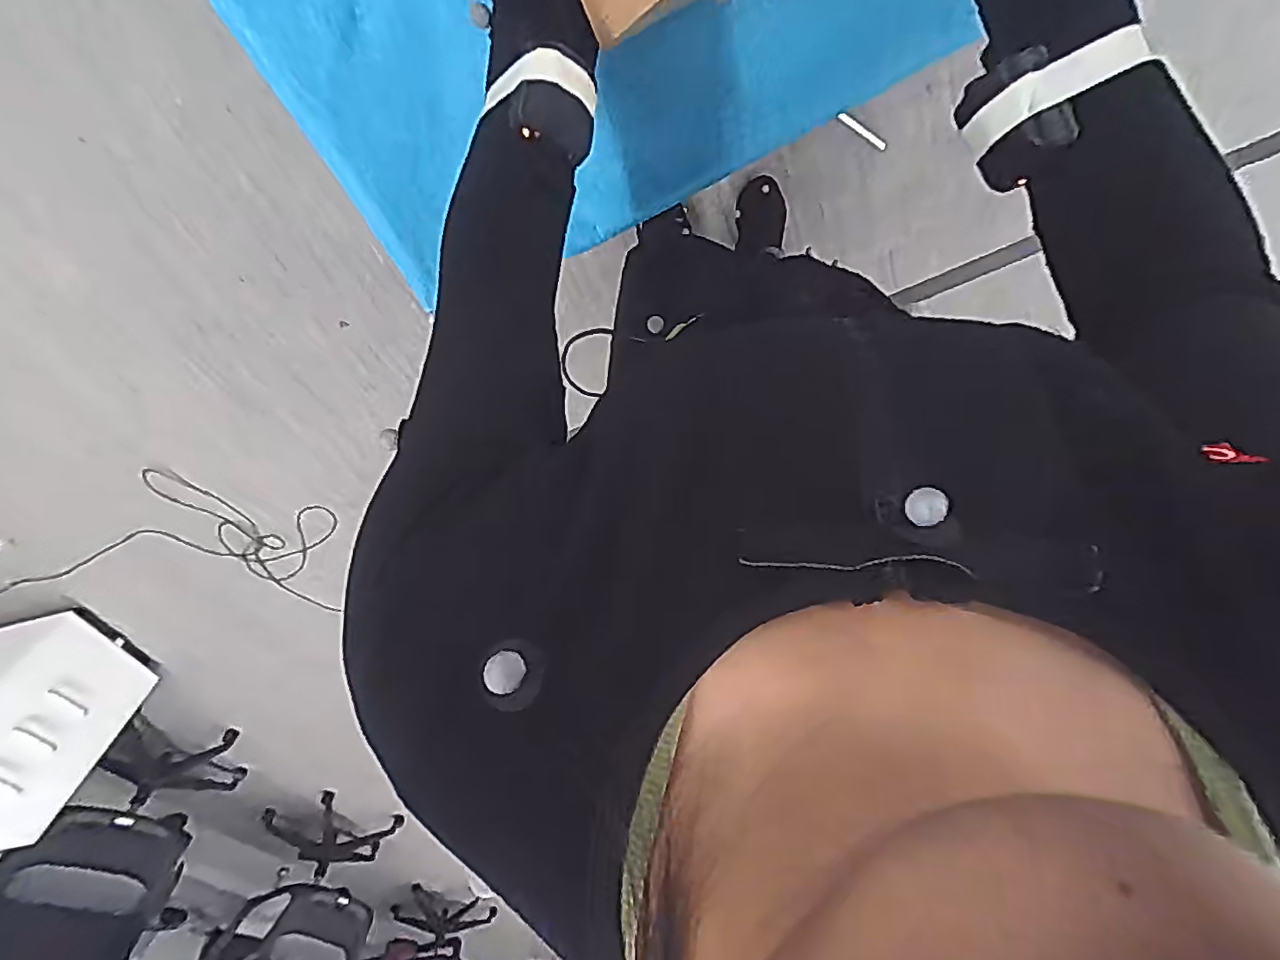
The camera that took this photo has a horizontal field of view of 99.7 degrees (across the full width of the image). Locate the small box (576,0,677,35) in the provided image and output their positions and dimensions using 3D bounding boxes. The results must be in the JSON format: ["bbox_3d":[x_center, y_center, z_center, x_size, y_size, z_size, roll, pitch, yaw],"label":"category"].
[{"bbox_3d":[0.028,-0.417,0.318,0.168,0.176,0.179,-36,124,-12],"label":"small box"}]
